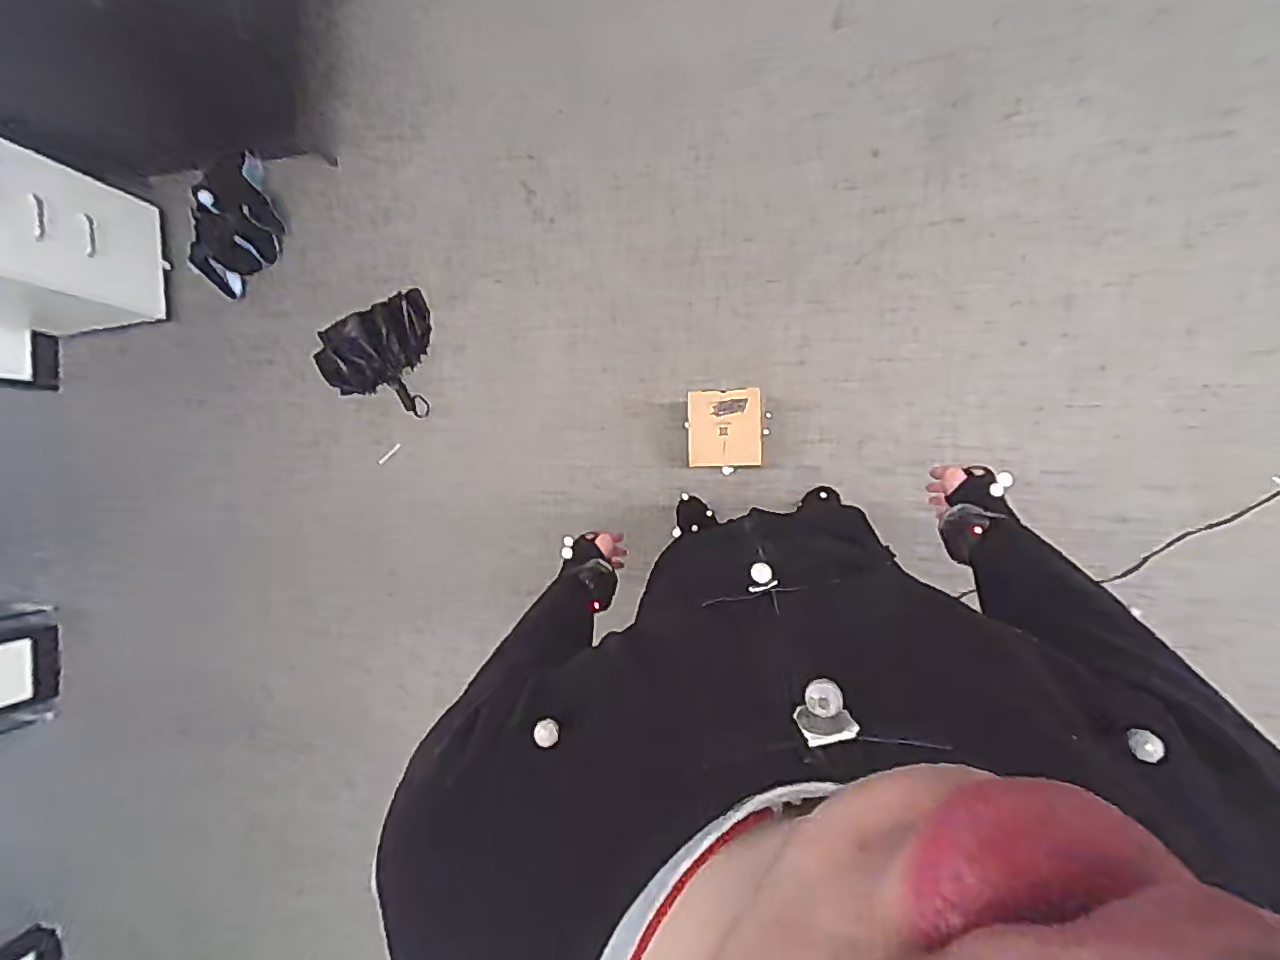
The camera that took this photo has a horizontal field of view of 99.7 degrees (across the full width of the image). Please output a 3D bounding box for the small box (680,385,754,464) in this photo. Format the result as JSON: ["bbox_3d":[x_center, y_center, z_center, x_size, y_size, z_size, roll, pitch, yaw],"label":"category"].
[{"bbox_3d":[0.189,-0.128,1.314,0.168,0.176,0.179,-1,92,13],"label":"small box"}]
